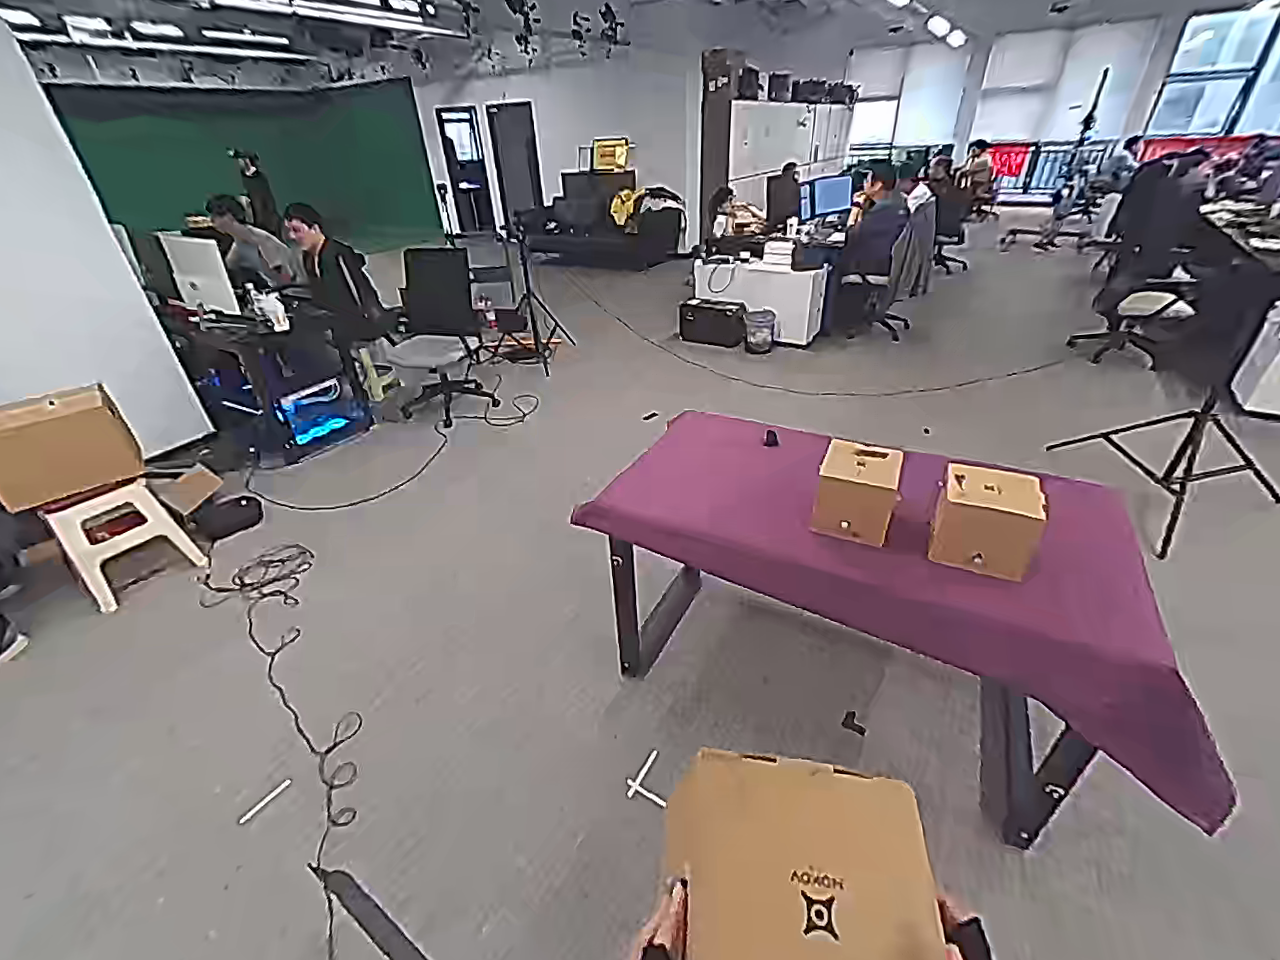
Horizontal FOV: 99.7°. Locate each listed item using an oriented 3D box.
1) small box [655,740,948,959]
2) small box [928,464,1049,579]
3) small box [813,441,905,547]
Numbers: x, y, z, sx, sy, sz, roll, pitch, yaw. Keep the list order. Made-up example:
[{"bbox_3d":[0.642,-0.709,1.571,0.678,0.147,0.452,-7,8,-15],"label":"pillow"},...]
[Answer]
[{"bbox_3d":[0.105,0.328,0.411,0.168,0.176,0.179,10,47,0],"label":"small box"},{"bbox_3d":[0.749,0.090,1.175,0.179,0.176,0.168,14,36,24],"label":"small box"},{"bbox_3d":[0.518,0.031,1.287,0.168,0.176,0.179,13,36,24],"label":"small box"}]
